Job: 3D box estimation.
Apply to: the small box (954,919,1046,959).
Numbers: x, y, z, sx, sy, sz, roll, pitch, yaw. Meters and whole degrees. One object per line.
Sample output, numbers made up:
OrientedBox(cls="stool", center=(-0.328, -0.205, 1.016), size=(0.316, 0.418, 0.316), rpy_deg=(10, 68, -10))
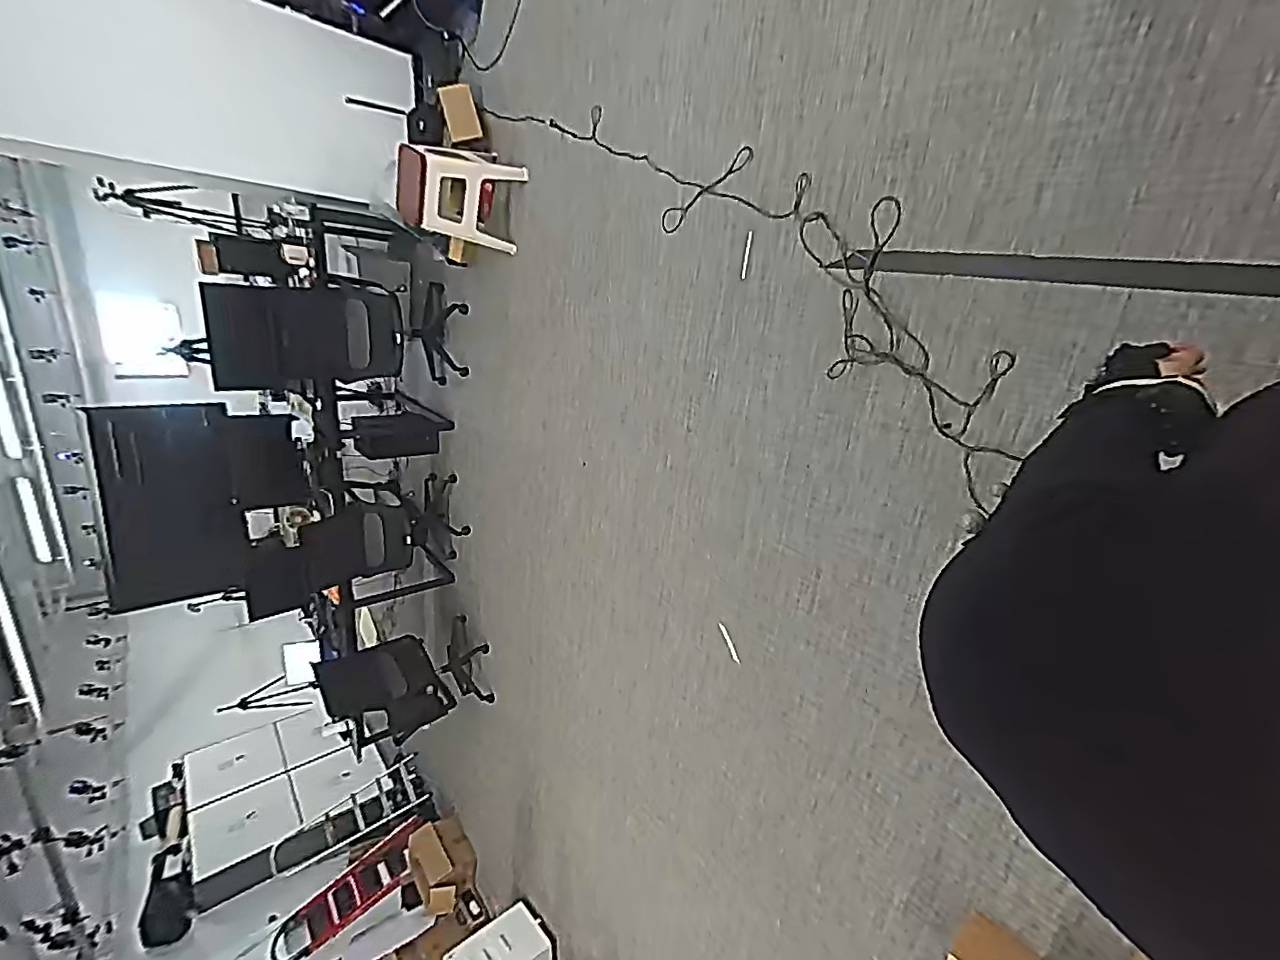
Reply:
OrientedBox(cls="small box", center=(0.885, 1.240, 1.331), size=(0.179, 0.176, 0.168), rpy_deg=(20, 113, 45))
